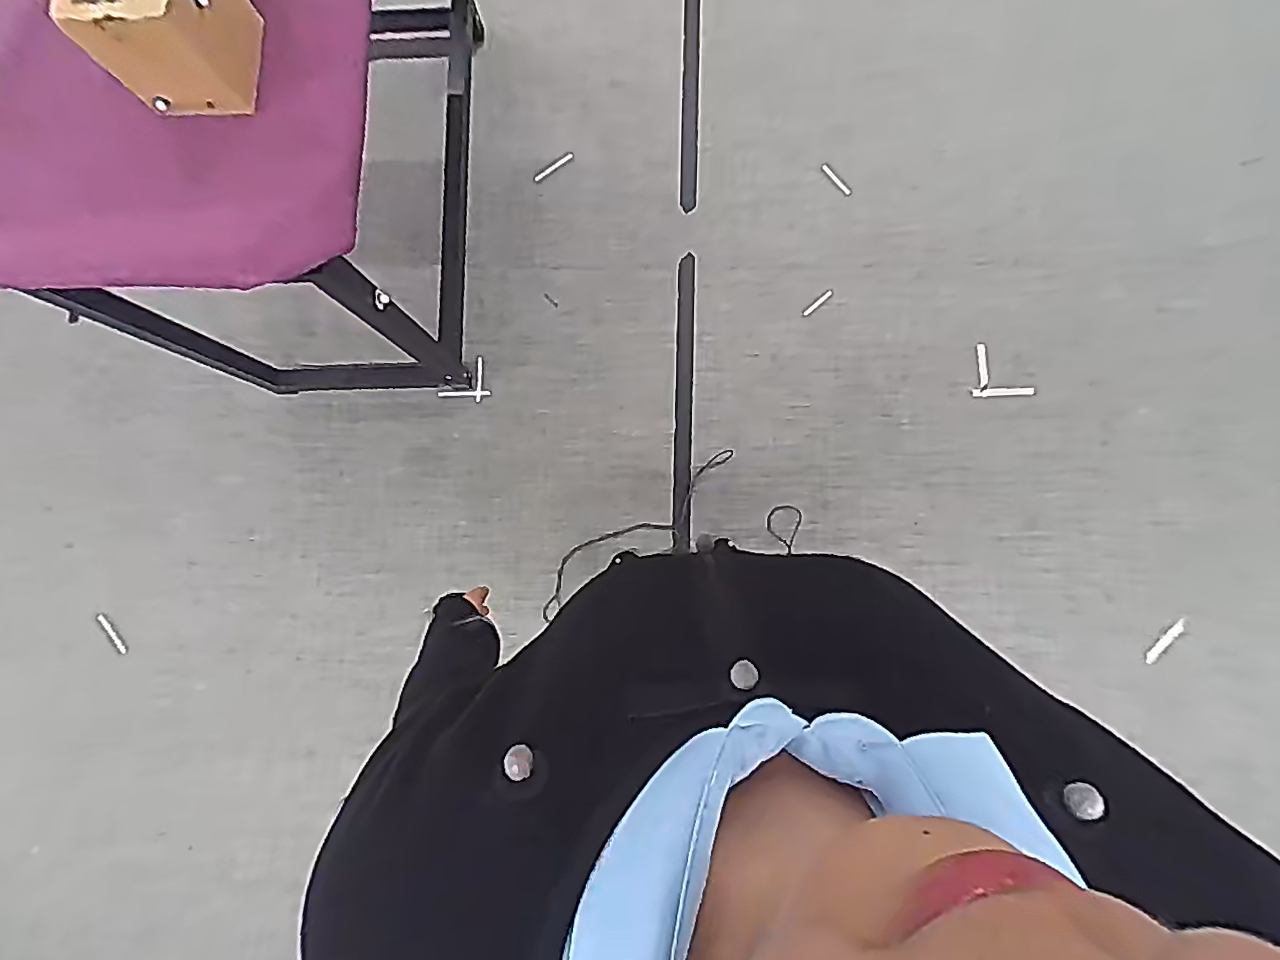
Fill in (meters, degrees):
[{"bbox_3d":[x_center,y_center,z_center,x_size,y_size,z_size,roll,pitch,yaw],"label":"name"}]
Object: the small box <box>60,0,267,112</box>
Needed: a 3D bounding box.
[{"bbox_3d":[-0.711,-0.701,0.828,0.168,0.176,0.179,0,83,1],"label":"small box"}]
